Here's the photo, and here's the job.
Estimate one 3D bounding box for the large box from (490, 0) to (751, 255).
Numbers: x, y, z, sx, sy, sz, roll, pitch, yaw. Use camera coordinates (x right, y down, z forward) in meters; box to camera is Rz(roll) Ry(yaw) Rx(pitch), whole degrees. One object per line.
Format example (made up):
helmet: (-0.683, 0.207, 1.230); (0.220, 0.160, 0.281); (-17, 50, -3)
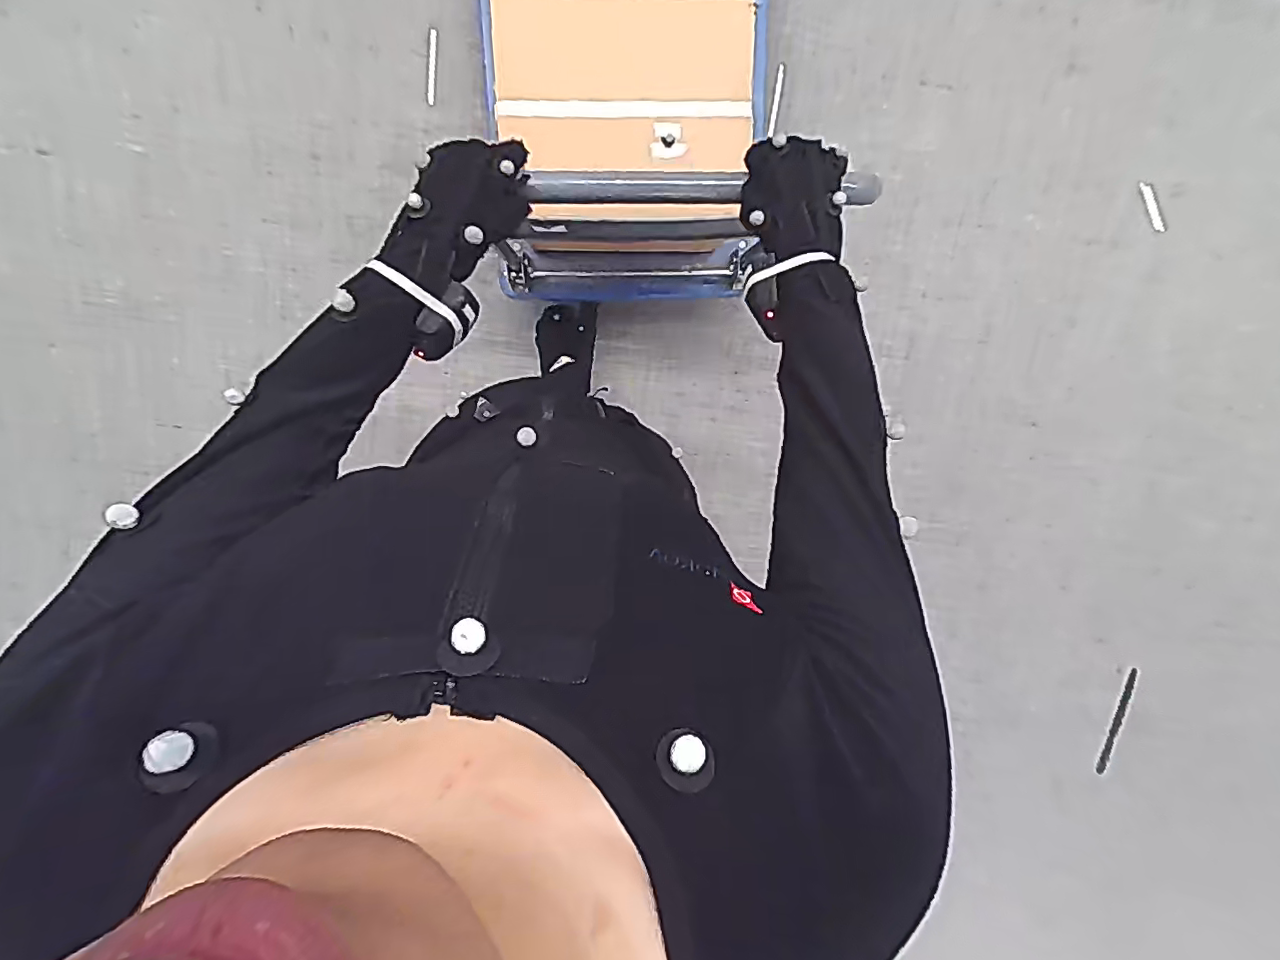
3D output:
large box: (-0.035, -0.609, 0.995); (0.408, 0.320, 0.320); (-2, 104, -3)
